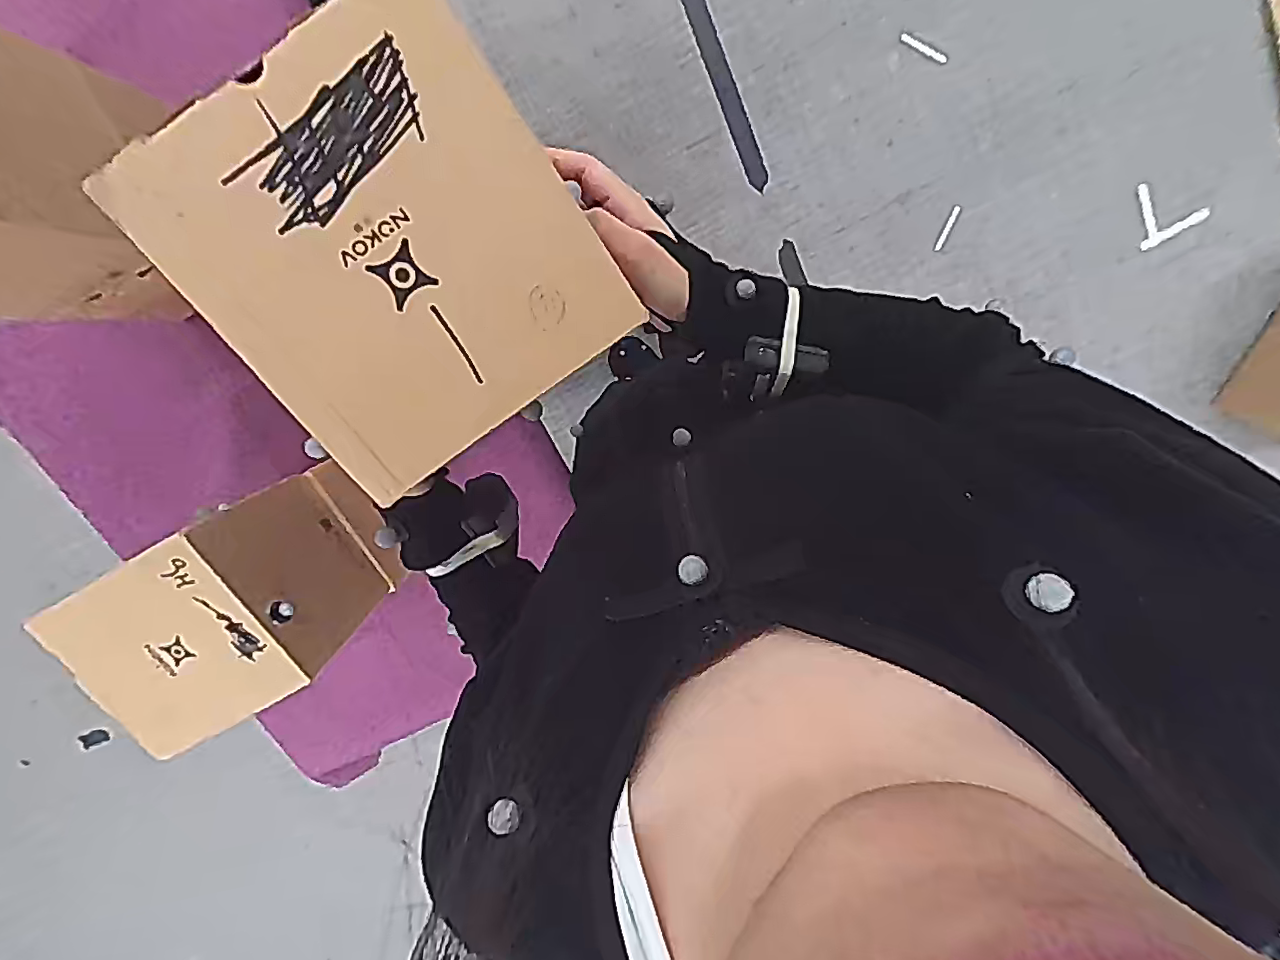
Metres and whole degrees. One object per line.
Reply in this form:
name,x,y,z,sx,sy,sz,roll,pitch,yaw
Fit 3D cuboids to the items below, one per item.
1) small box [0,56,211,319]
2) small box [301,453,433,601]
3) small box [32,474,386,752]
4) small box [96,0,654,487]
small box,-0.542,-0.289,0.580,0.168,0.176,0.179,-24,105,5
small box,-0.392,0.068,0.692,0.179,0.176,0.168,-27,106,7
small box,-0.396,0.119,0.536,0.179,0.176,0.168,-28,106,8
small box,-0.116,-0.126,0.313,0.168,0.176,0.179,-34,107,2
